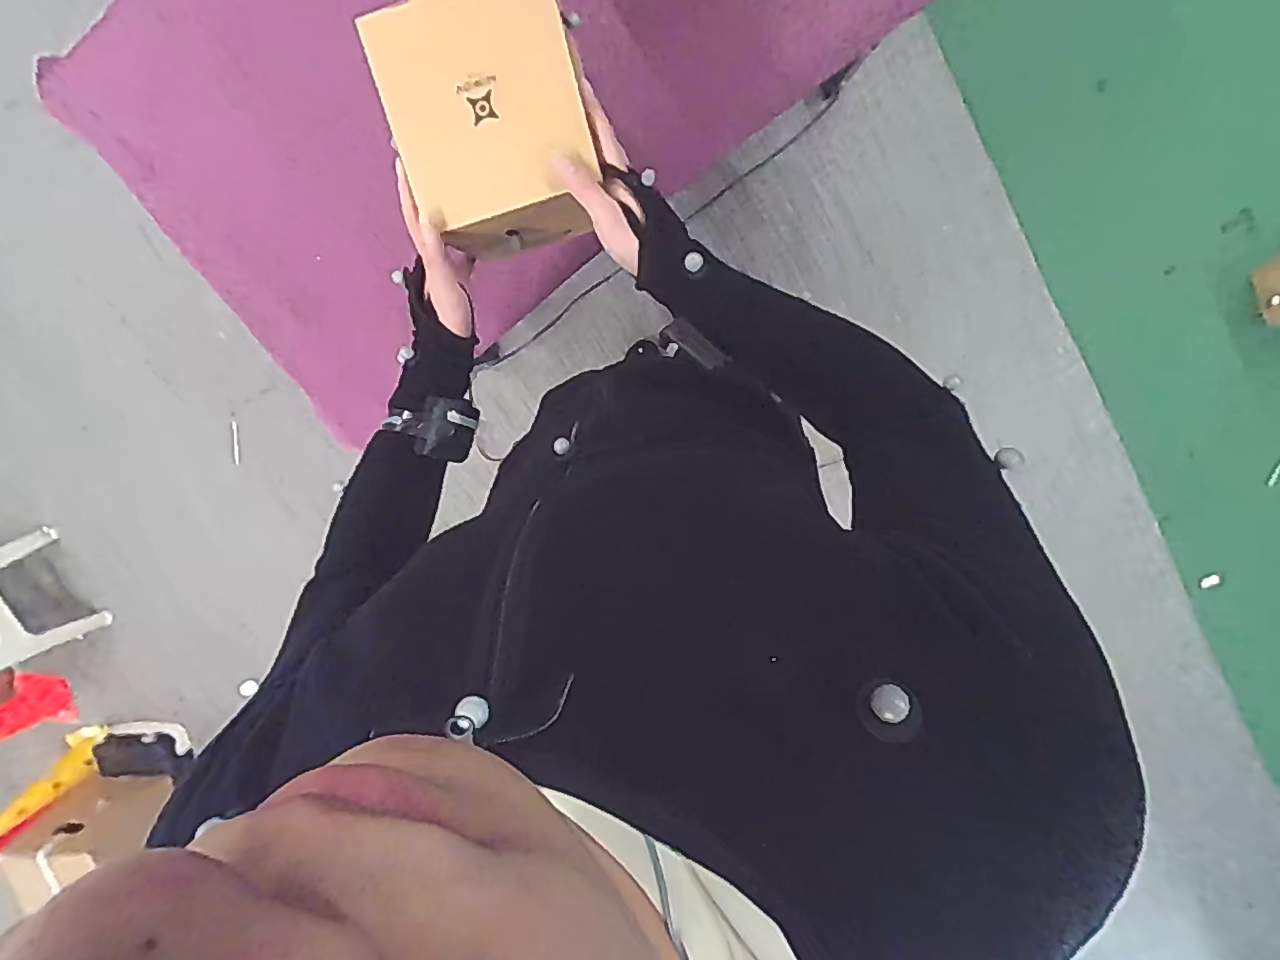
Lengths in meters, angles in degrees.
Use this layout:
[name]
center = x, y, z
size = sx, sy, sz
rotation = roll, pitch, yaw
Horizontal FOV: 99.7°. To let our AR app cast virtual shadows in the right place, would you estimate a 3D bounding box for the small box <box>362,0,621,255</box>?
[small box]
center = -0.121, -0.332, 0.525
size = 0.168, 0.176, 0.179
rotation = -14, 102, 6
